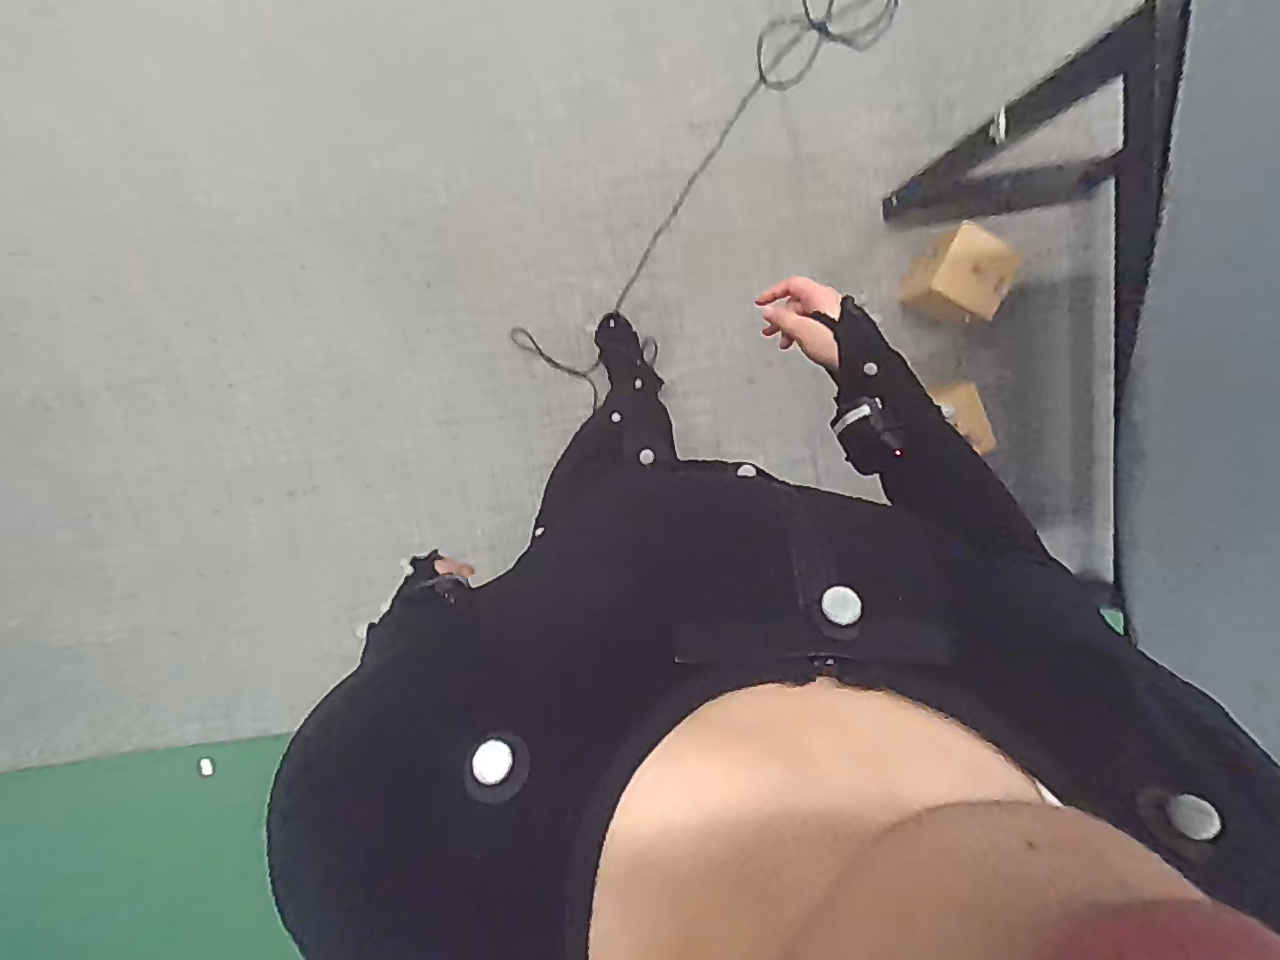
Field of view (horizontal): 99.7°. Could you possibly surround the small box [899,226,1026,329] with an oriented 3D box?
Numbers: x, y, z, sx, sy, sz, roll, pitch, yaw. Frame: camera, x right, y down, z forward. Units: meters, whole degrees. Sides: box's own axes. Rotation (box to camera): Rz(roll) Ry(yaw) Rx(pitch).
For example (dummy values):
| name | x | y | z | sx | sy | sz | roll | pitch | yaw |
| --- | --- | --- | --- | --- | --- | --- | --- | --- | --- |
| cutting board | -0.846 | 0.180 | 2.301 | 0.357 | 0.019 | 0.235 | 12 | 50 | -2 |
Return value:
| name | x | y | z | sx | sy | sz | roll | pitch | yaw |
| --- | --- | --- | --- | --- | --- | --- | --- | --- | --- |
| small box | 0.781 | -0.487 | 1.333 | 0.179 | 0.176 | 0.168 | 24 | 97 | -6 |
